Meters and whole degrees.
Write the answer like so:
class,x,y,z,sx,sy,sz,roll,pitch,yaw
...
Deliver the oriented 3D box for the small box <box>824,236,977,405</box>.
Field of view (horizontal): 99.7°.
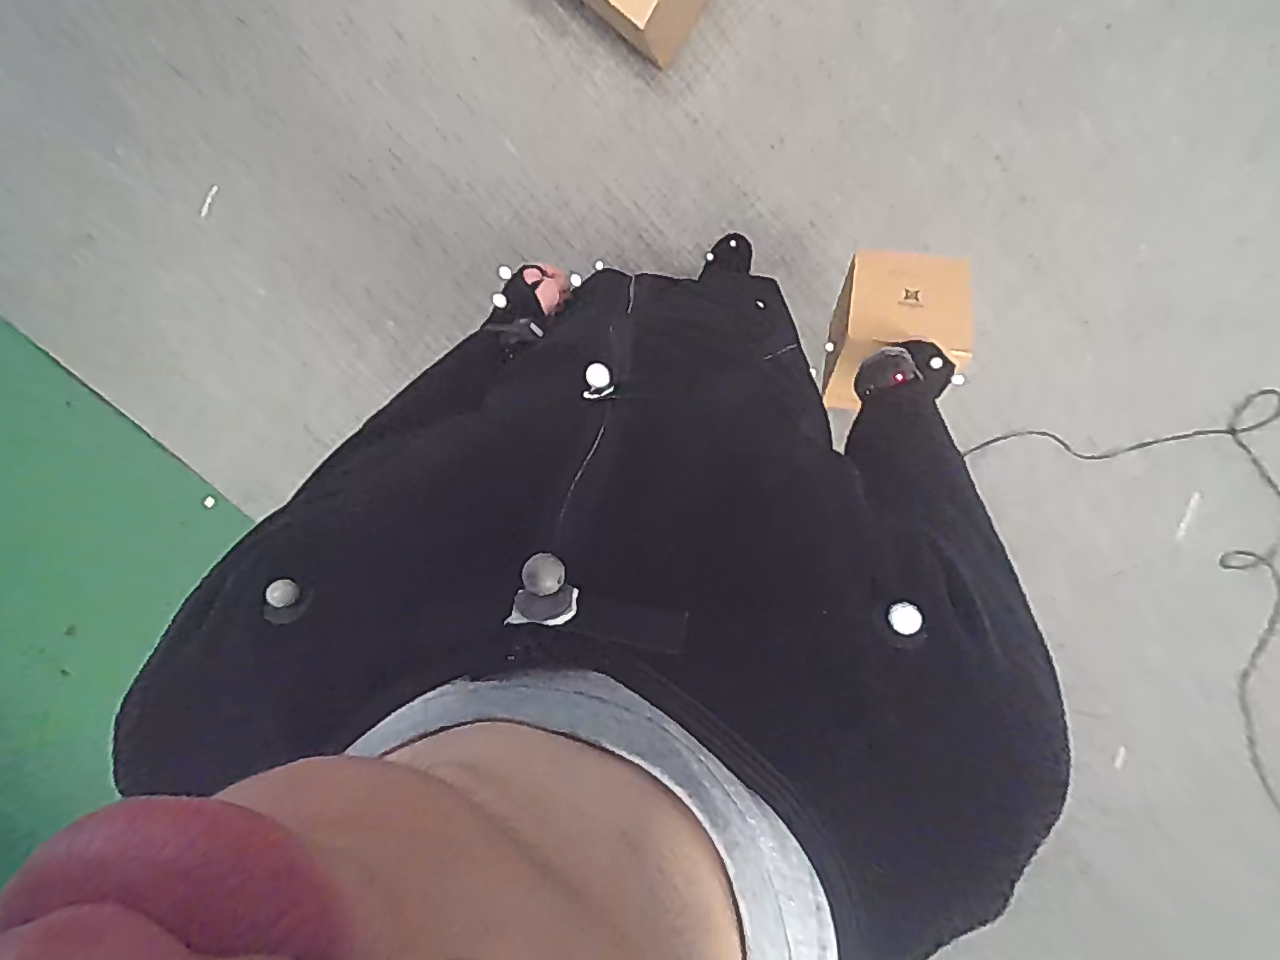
class,x,y,z,sx,sy,sz,roll,pitch,yaw
small box,0.388,-0.236,0.827,0.168,0.179,0.176,11,157,10
